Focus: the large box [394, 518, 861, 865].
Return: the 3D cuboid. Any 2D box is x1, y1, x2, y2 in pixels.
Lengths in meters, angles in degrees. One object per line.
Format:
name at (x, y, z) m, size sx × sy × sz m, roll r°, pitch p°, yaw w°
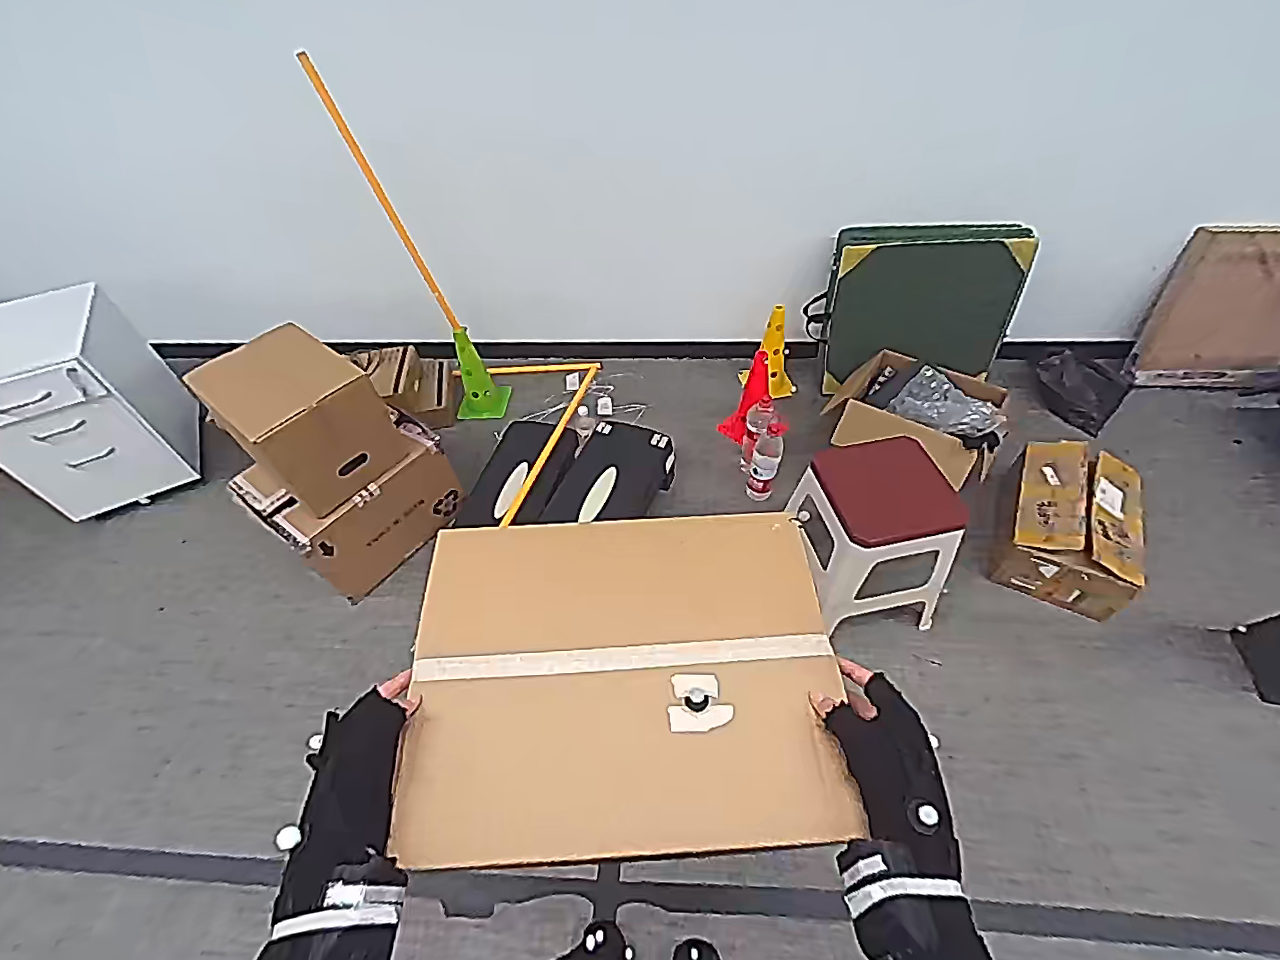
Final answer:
large box at (-0.016, 0.265, 0.659) m, size 0.408 × 0.320 × 0.320 m, roll -2°, pitch 54°, yaw -1°
